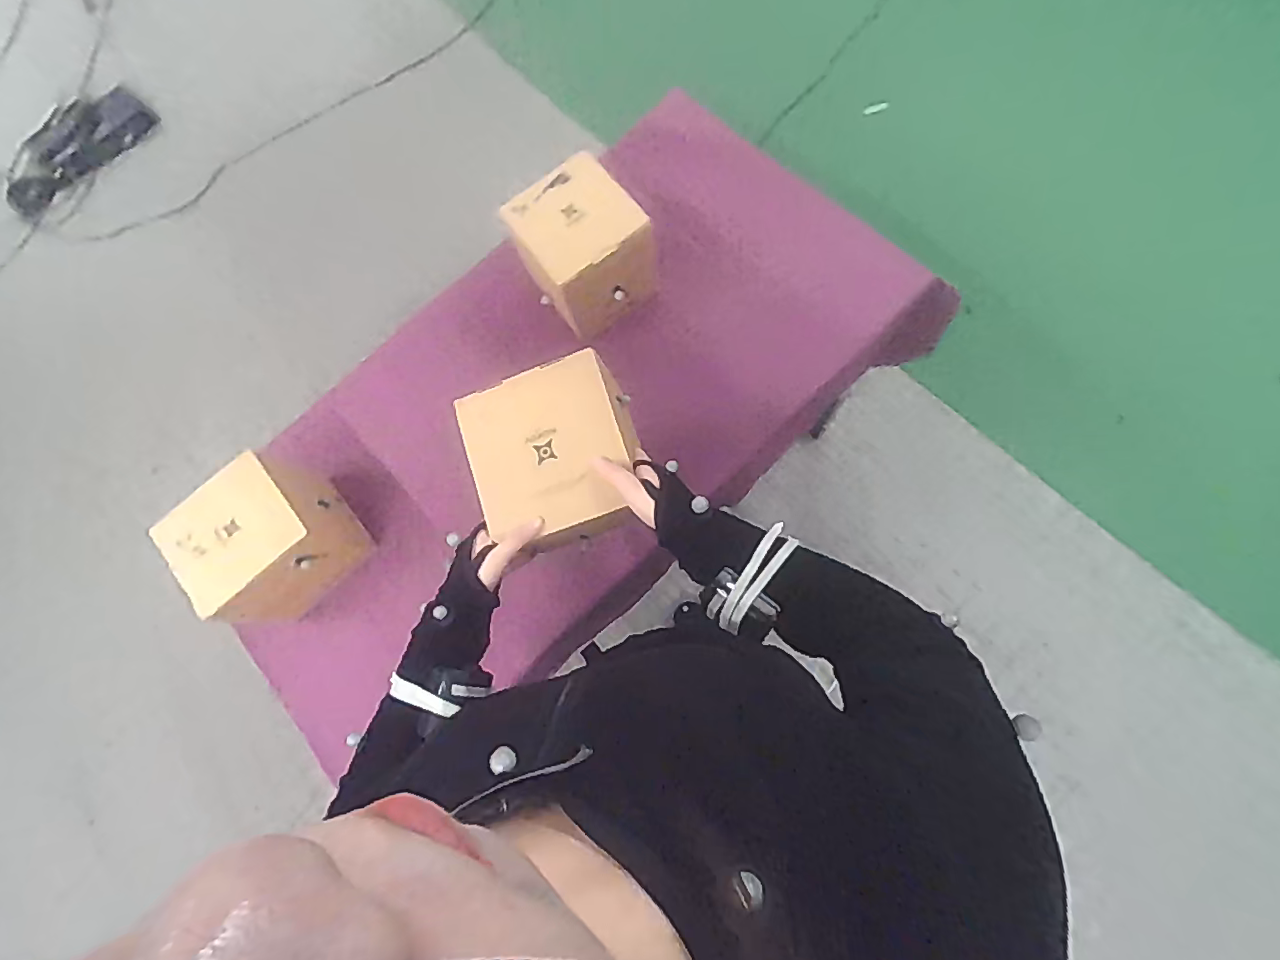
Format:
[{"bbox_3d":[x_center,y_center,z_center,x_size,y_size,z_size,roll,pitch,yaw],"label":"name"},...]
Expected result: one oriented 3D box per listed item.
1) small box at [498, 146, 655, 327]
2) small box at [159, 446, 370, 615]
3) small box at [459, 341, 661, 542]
[{"bbox_3d":[-0.090,-0.372,0.866,0.168,0.176,0.179,-36,75,-3],"label":"small box"},{"bbox_3d":[-0.543,0.083,0.813,0.179,0.176,0.168,-42,74,-4],"label":"small box"},{"bbox_3d":[-0.084,-0.032,0.639,0.168,0.176,0.179,-19,80,8],"label":"small box"}]
